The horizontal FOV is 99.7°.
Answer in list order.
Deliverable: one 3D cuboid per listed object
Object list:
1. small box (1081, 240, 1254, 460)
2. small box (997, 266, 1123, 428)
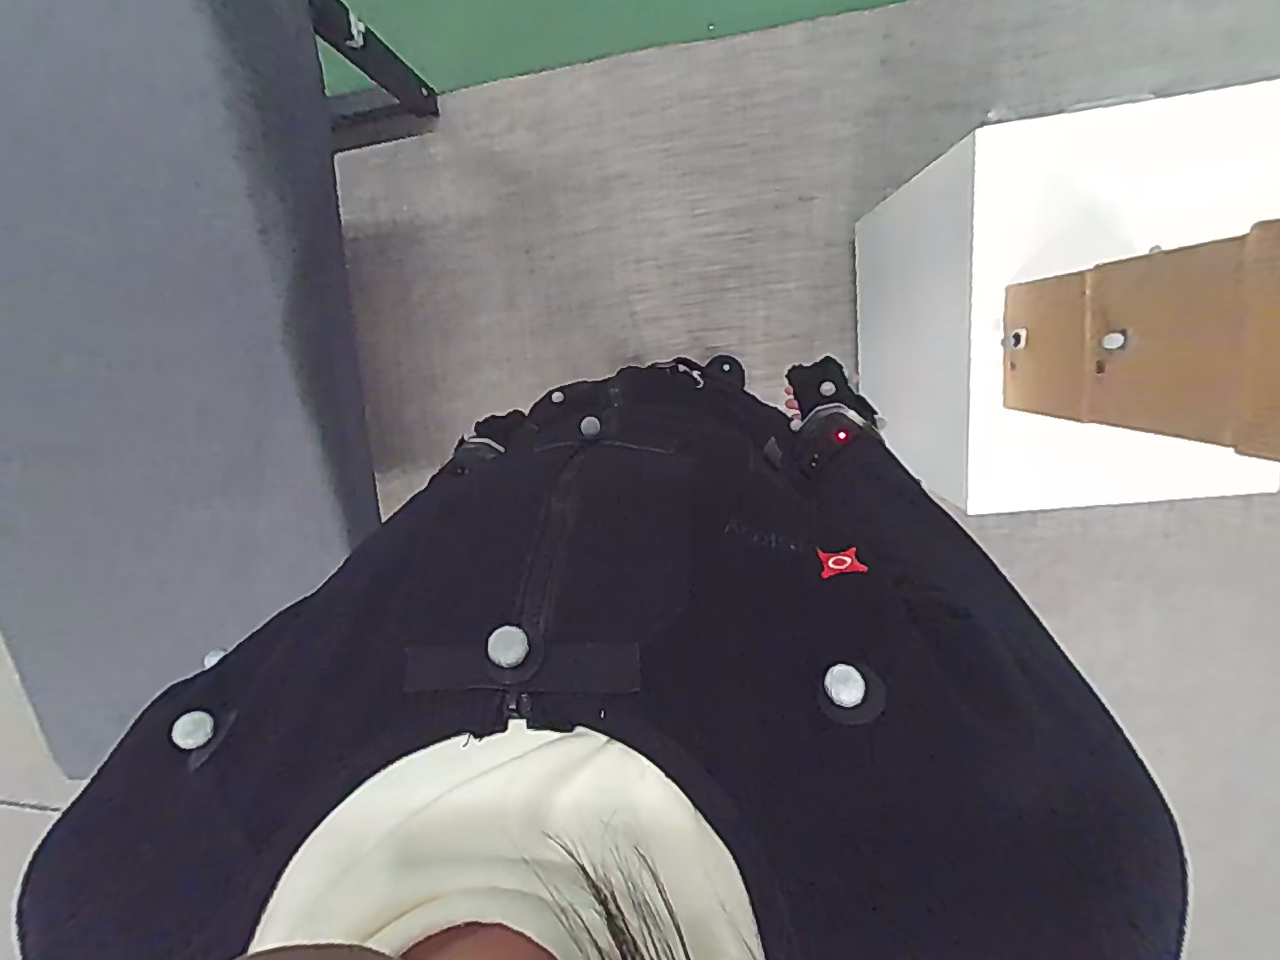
[{"bbox_3d":[0.543,-0.125,0.476,0.179,0.176,0.168,-9,102,7],"label":"small box"},{"bbox_3d":[0.558,-0.162,0.636,0.179,0.176,0.168,-6,102,9],"label":"small box"}]
